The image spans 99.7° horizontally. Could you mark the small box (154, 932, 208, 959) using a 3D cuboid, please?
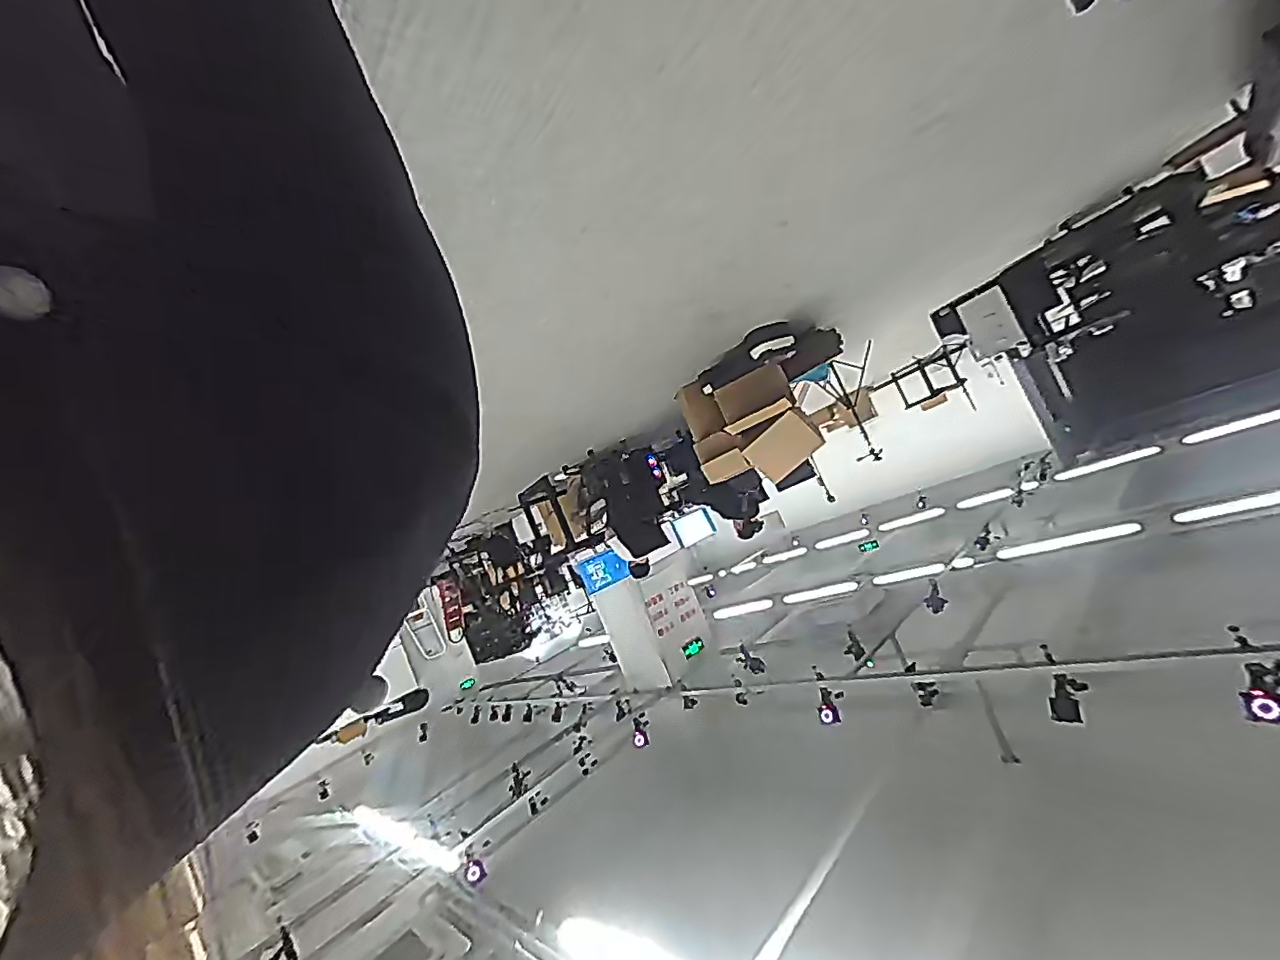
[{"bbox_3d":[-1.454,1.565,1.676,0.168,0.176,0.179,-22,171,-40],"label":"small box"}]
